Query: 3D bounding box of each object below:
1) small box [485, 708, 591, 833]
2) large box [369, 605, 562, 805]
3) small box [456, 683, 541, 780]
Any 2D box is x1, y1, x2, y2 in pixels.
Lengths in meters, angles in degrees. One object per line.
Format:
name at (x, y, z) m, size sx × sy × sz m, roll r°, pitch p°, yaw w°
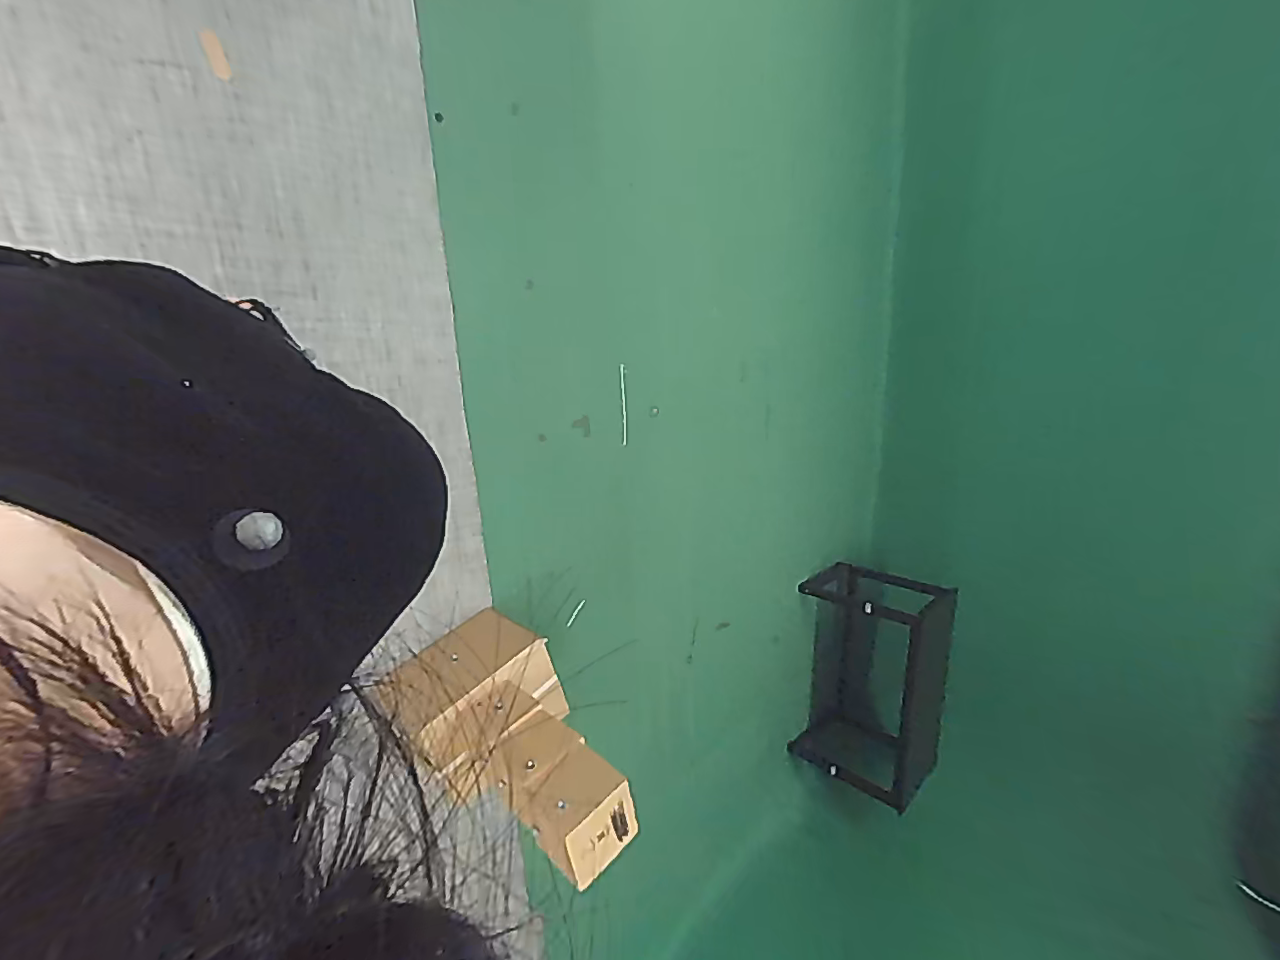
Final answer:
small box at (-0.249, 0.700, 1.326) m, size 0.179 × 0.176 × 0.168 m, roll -25°, pitch 116°, yaw -40°
large box at (-0.515, 0.650, 1.634) m, size 0.408 × 0.320 × 0.320 m, roll -34°, pitch 123°, yaw -38°
small box at (-0.363, 0.669, 1.438) m, size 0.168 × 0.176 × 0.179 m, roll -27°, pitch 117°, yaw -39°
